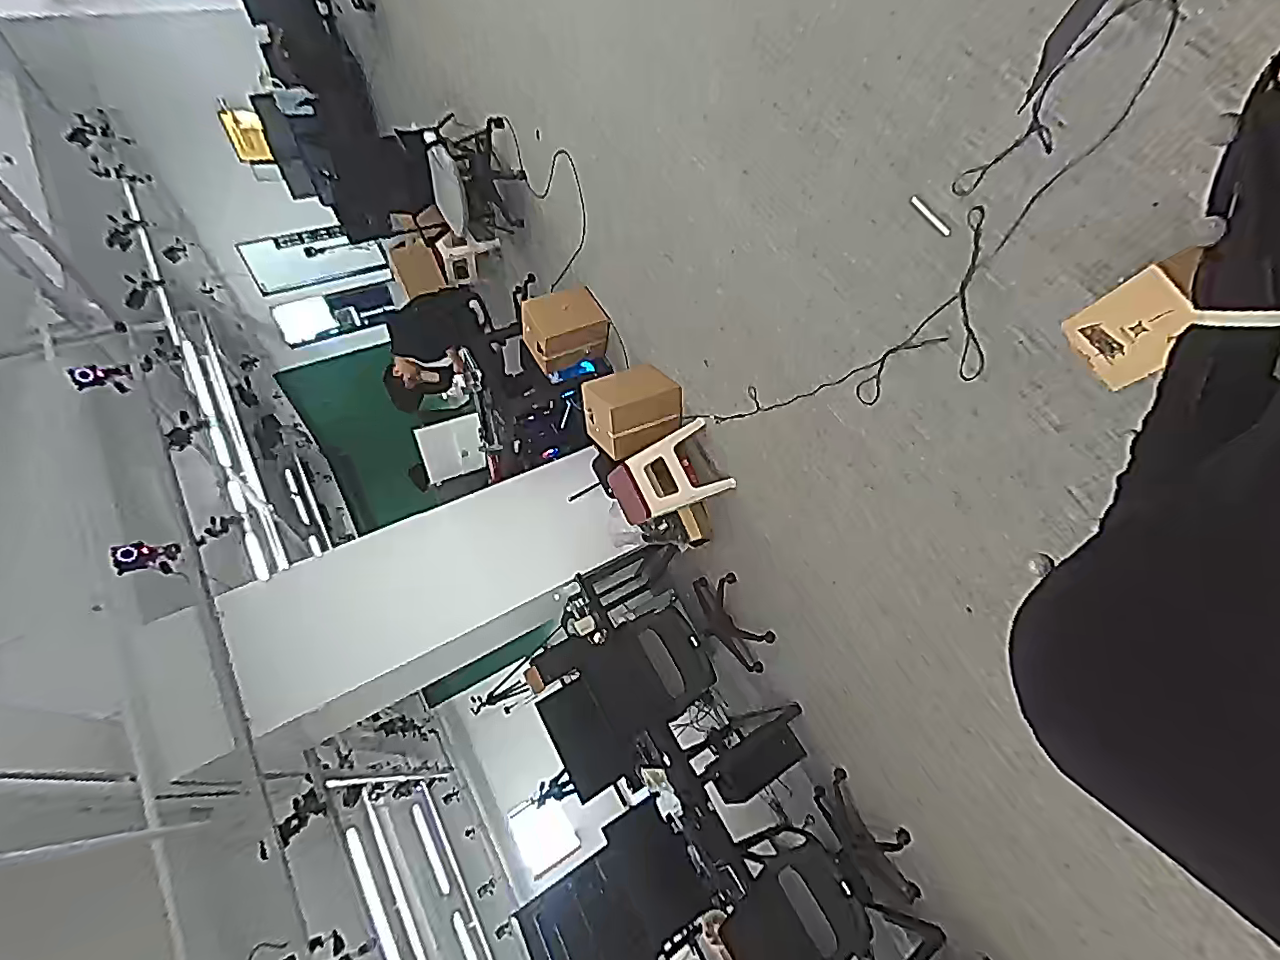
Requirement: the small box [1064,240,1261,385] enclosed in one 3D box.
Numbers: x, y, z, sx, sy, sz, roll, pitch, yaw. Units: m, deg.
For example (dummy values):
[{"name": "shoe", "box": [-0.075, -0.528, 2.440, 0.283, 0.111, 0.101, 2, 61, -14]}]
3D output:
[{"name": "small box", "box": [0.954, -0.306, 0.993, 0.168, 0.176, 0.179, 60, 155, 12]}]
